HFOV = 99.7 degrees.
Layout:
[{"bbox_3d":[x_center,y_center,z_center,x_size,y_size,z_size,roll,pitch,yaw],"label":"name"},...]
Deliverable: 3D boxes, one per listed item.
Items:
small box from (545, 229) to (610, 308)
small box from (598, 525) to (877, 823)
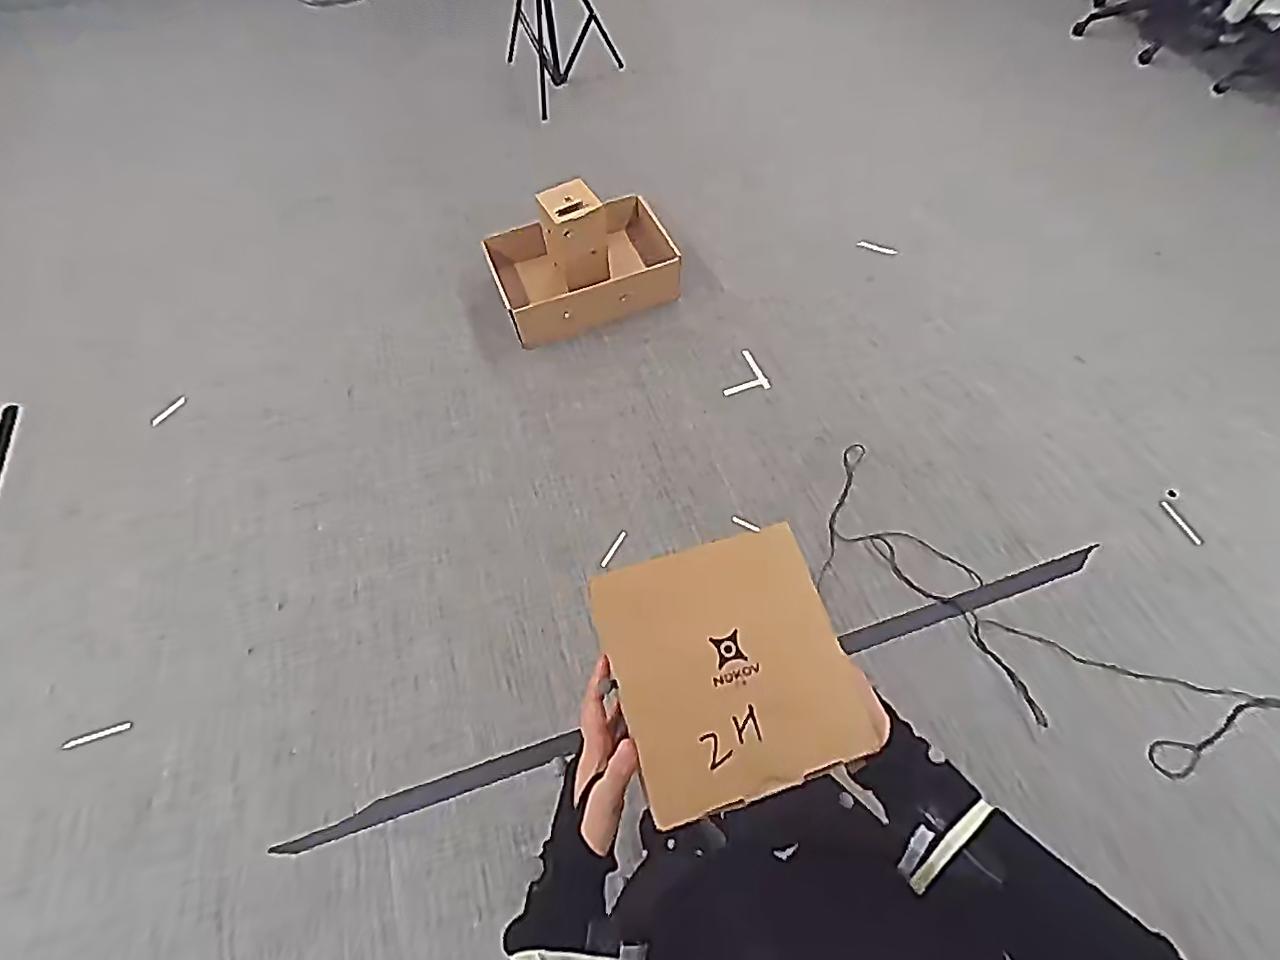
[{"bbox_3d":[-0.220,-0.750,1.924,0.168,0.176,0.179,-26,64,-11],"label":"small box"},{"bbox_3d":[0.061,0.161,0.471,0.168,0.176,0.179,-15,70,-9],"label":"small box"}]
